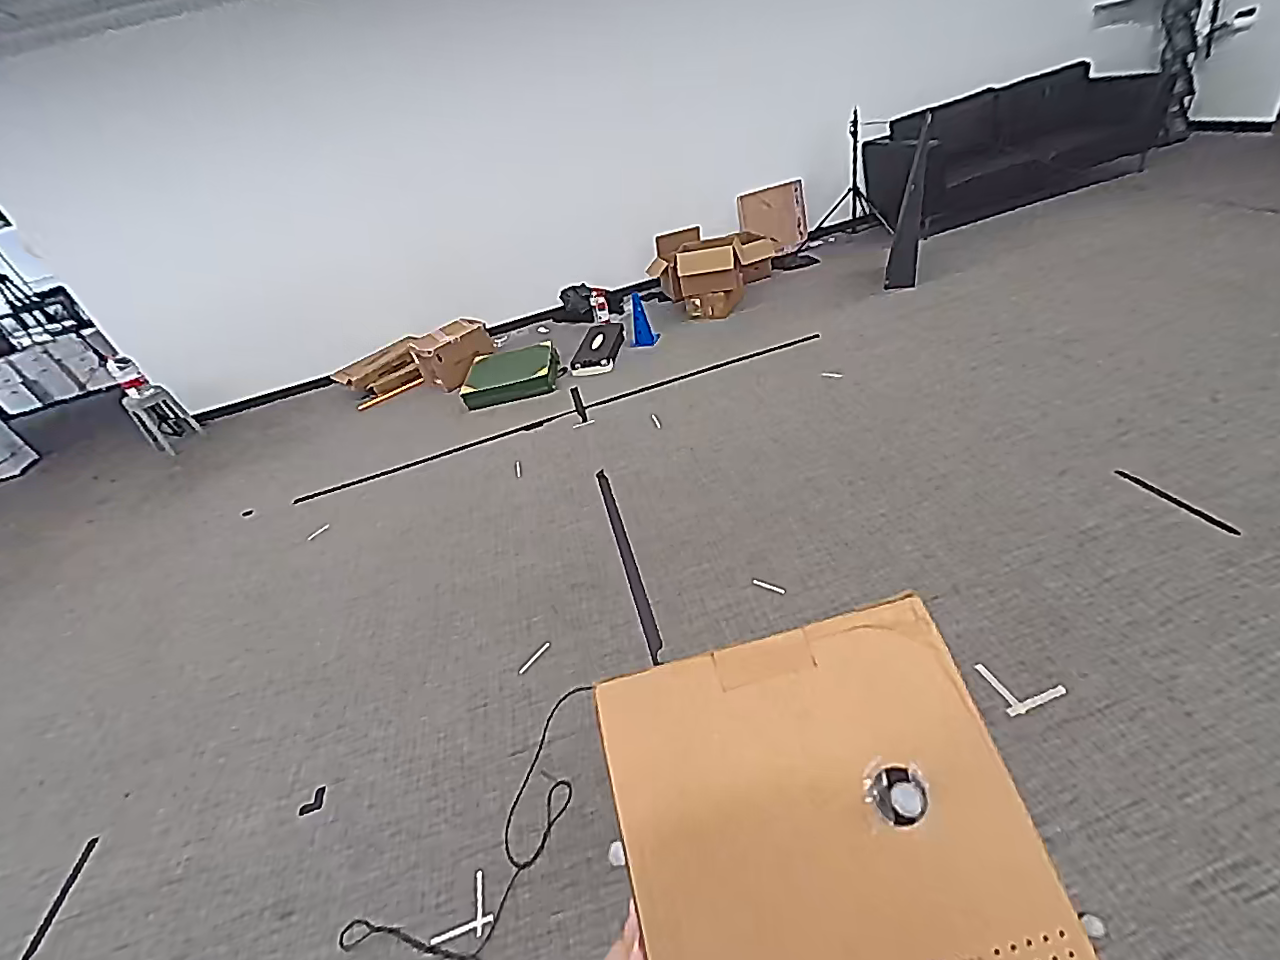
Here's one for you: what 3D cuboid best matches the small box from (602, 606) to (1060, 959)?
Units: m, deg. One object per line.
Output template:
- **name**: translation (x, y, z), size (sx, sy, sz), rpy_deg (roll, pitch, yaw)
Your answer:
- **small box**: translation (0.089, 0.192, 0.317), size (0.168, 0.179, 0.176), rpy_deg (-16, 65, 1)
